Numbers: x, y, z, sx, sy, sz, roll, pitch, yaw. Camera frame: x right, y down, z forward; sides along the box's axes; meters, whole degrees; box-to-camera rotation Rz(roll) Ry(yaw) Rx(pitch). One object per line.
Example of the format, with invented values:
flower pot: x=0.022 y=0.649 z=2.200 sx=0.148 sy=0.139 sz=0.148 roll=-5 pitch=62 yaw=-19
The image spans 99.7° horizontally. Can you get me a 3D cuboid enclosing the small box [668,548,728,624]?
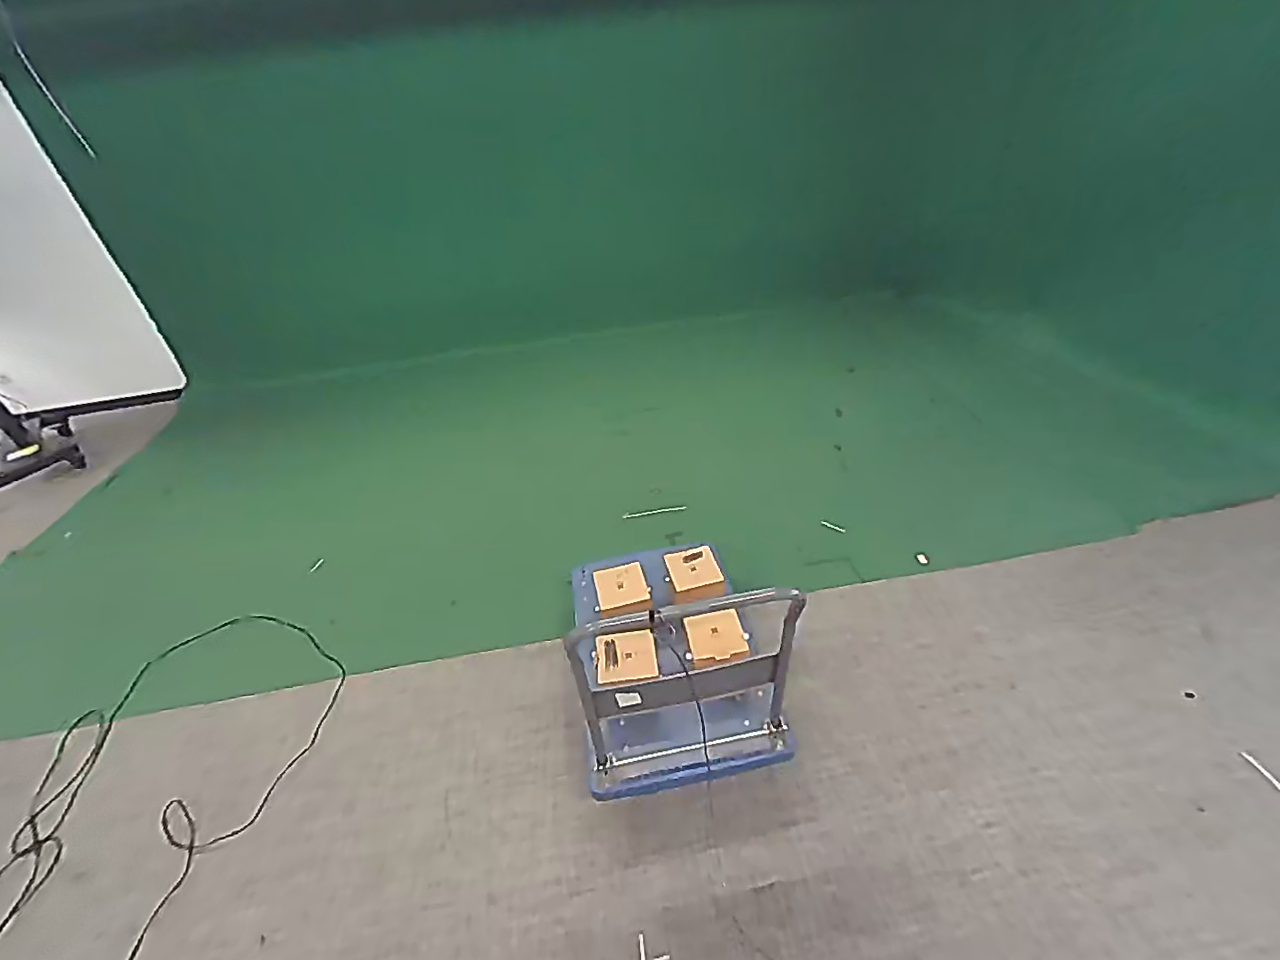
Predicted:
small box: x=0.198 y=0.365 z=1.862 sx=0.168 sy=0.176 sz=0.179 roll=-13 pitch=37 yaw=-6

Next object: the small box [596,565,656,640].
small box: x=-0.045 y=0.420 z=1.832 sx=0.168 sy=0.176 sz=0.179 roll=-12 pitch=36 yaw=-7

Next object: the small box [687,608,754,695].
small box: x=0.240 y=0.520 z=1.645 sx=0.168 sy=0.176 sz=0.179 roll=-9 pitch=37 yaw=-3
